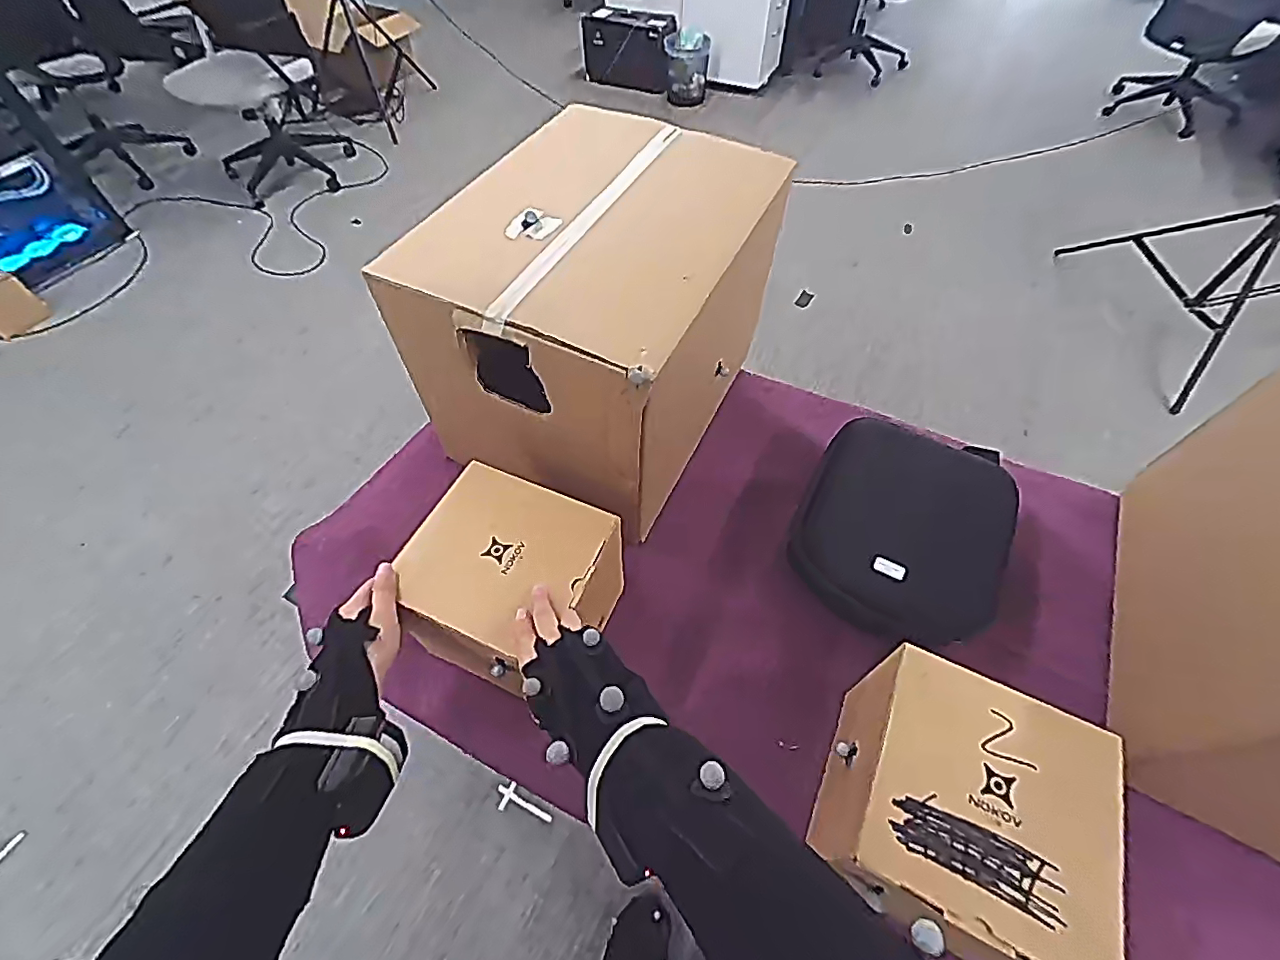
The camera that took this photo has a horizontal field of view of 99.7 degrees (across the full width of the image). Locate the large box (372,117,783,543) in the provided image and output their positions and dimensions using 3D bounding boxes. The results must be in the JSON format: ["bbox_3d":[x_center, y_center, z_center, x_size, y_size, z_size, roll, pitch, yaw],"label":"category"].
[{"bbox_3d":[-0.046,-0.196,0.714,0.320,0.320,0.408,22,60,13],"label":"large box"}]

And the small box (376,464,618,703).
[{"bbox_3d":[-0.134,0.116,0.581,0.179,0.176,0.168,19,56,12],"label":"small box"}]
